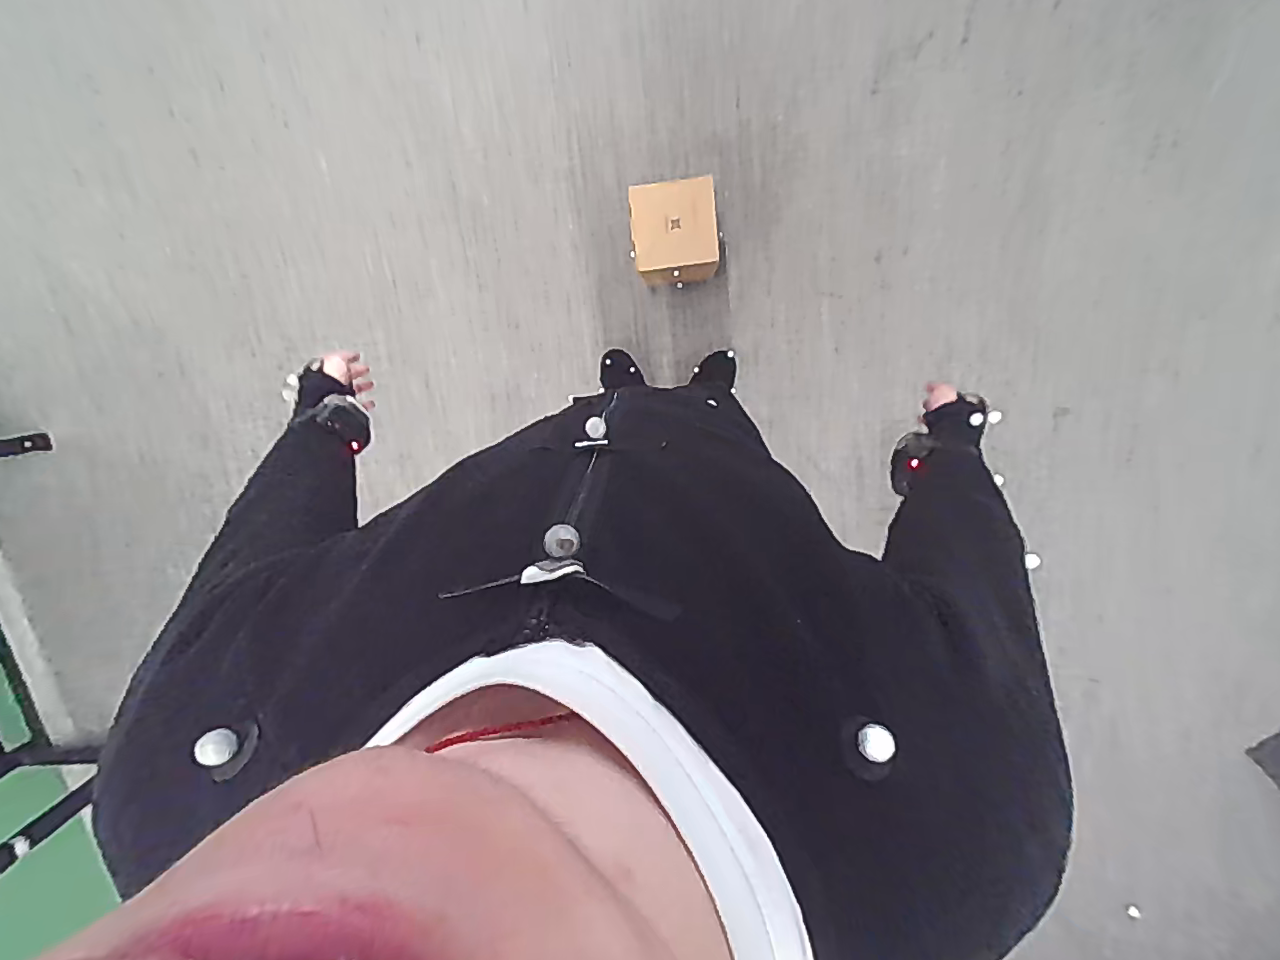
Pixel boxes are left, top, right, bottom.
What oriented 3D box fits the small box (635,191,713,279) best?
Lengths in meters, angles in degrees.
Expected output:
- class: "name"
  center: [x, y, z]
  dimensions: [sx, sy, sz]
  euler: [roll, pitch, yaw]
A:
- class: "small box"
  center: [0.085, -0.600, 1.341]
  dimensions: [0.179, 0.176, 0.168]
  euler: [-4, 104, 5]
